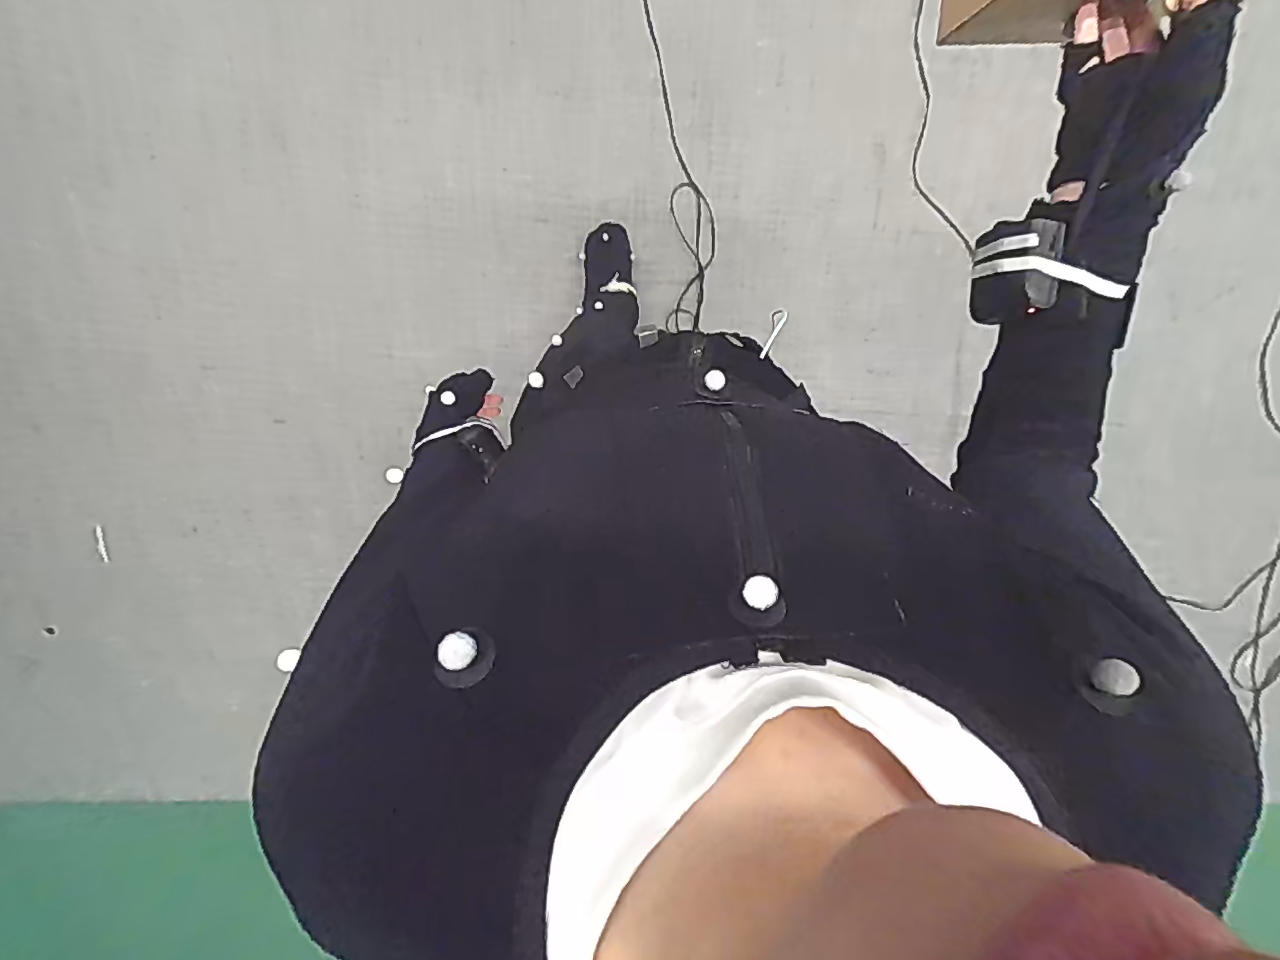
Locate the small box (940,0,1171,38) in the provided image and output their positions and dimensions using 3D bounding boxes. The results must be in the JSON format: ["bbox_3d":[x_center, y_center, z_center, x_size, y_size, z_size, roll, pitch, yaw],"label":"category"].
[{"bbox_3d":[0.335,-0.442,0.365,0.168,0.176,0.179,-3,109,-2],"label":"small box"}]
